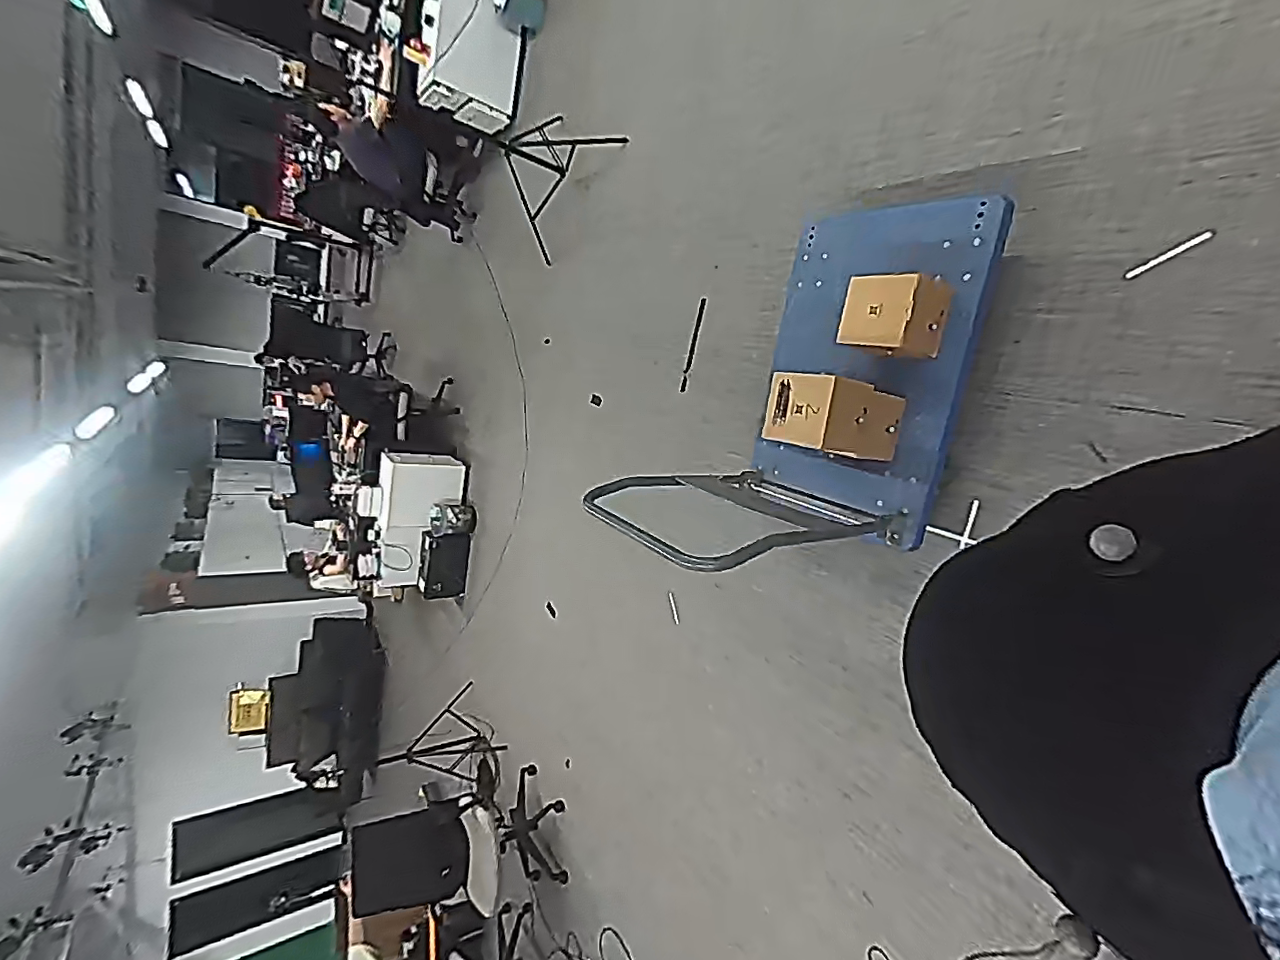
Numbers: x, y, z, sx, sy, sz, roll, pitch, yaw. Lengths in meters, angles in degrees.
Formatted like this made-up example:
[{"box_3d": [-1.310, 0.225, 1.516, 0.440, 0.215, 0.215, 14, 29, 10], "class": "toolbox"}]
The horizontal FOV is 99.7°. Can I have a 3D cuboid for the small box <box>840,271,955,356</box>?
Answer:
[{"box_3d": [0.630, -0.403, 1.326, 0.179, 0.176, 0.168, 23, 107, 51], "class": "small box"}]

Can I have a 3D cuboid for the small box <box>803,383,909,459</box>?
[{"box_3d": [0.559, -0.152, 1.406, 0.179, 0.176, 0.168, 21, 106, 51], "class": "small box"}]
